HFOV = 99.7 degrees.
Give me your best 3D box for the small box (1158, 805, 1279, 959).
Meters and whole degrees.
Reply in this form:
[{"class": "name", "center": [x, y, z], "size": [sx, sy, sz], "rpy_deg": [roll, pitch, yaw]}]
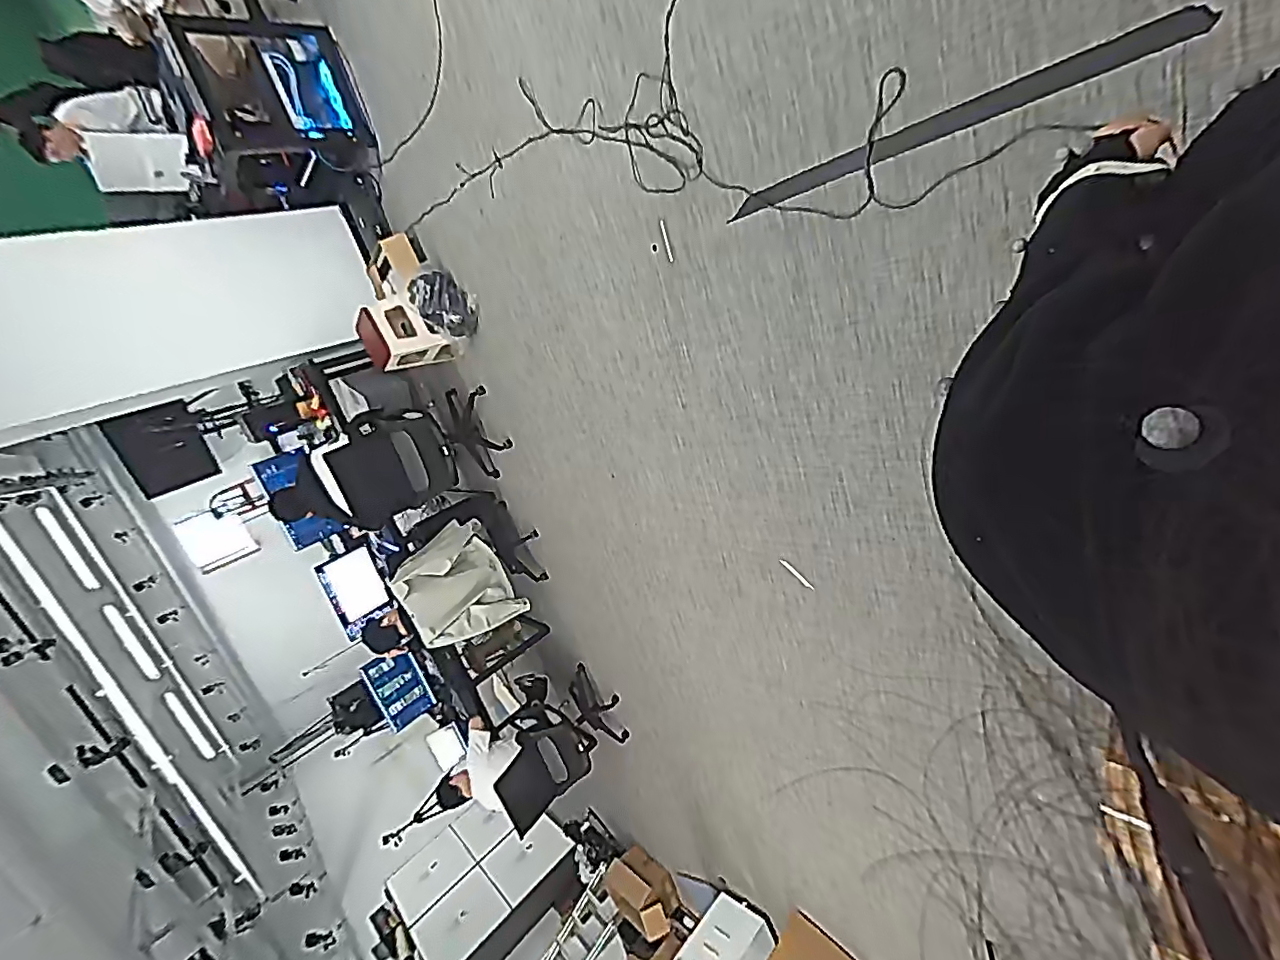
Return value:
[{"class": "small box", "center": [1.173, 0.804, 1.086], "size": [0.179, 0.176, 0.168], "rpy_deg": [3, 115, 50]}]
